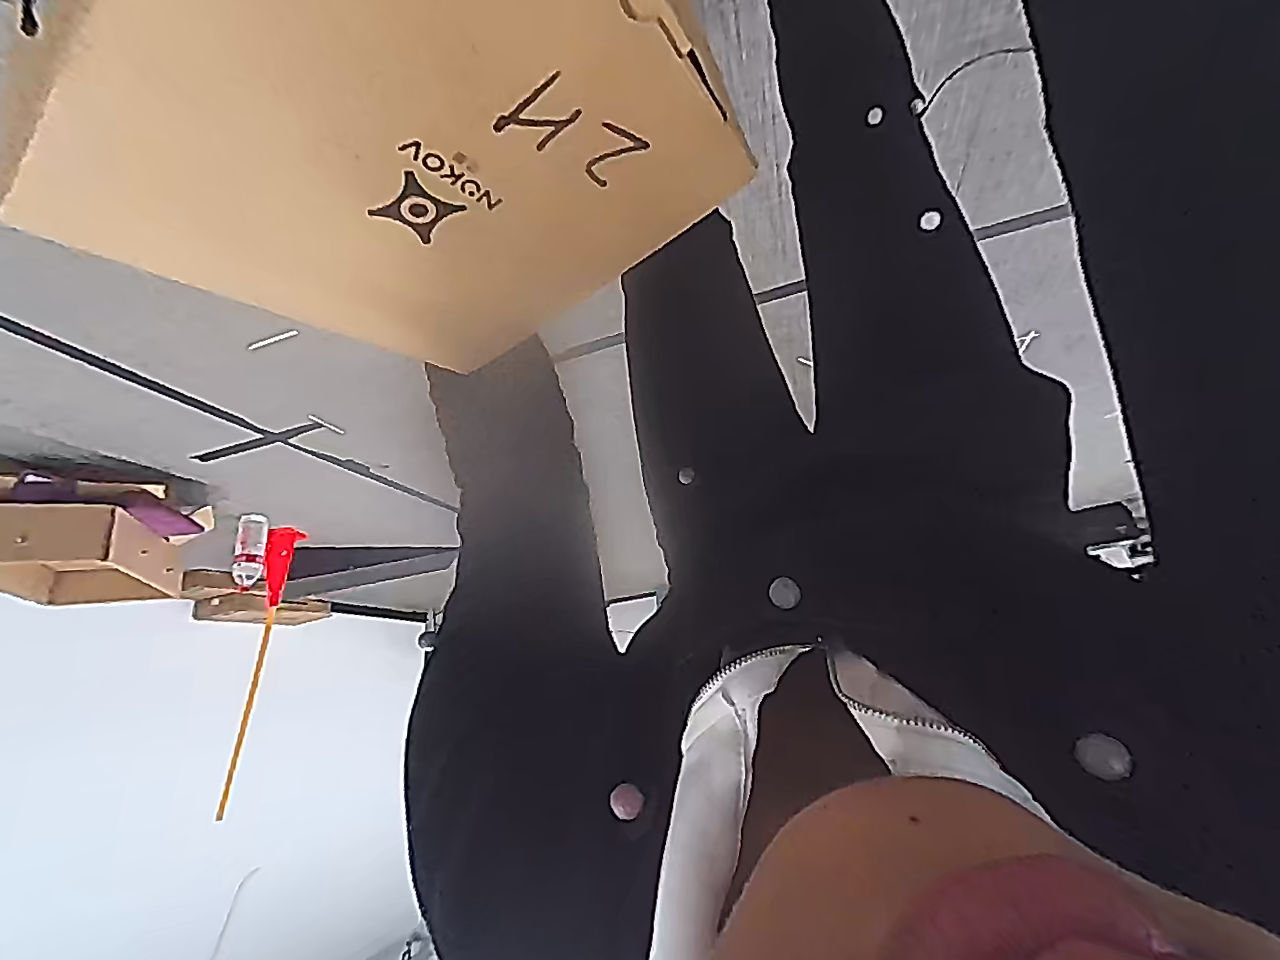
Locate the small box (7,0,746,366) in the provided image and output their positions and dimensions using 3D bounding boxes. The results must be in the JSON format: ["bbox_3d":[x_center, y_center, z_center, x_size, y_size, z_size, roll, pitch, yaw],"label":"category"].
[{"bbox_3d":[-0.089,-0.175,0.204,0.179,0.176,0.168,-24,163,28],"label":"small box"}]

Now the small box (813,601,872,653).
[{"bbox_3d":[0.789,0.573,2.108,0.179,0.176,0.168,-16,158,17],"label":"small box"}]
